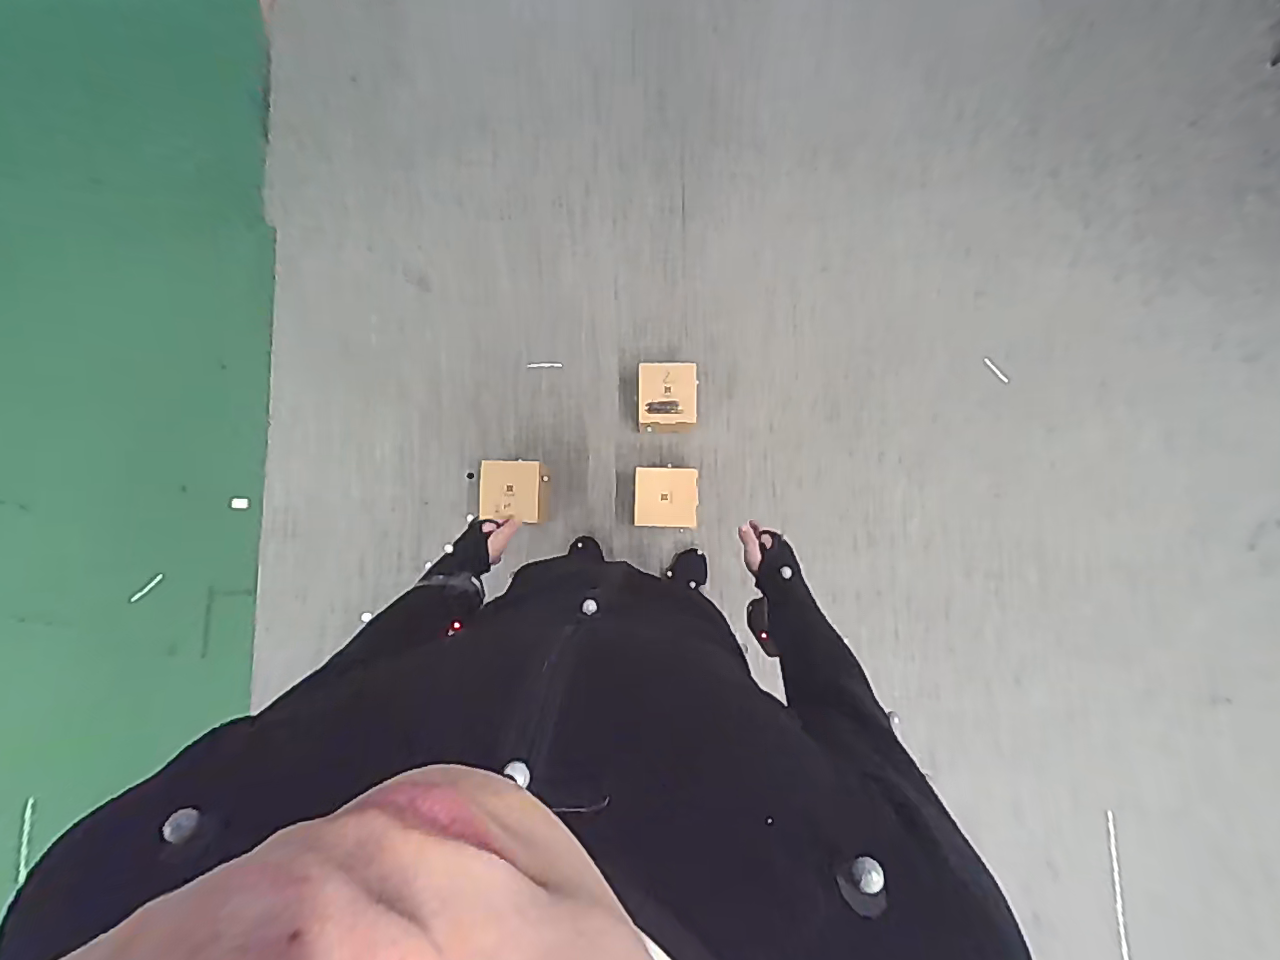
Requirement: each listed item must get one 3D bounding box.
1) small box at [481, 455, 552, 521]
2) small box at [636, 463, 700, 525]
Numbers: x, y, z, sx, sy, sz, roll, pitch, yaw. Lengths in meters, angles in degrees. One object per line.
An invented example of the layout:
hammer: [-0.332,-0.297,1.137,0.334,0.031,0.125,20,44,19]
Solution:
small box: [-0.355,0.027,1.576,0.168,0.176,0.179,1,85,2]
small box: [0.079,0.043,1.568,0.179,0.176,0.168,1,85,0]
